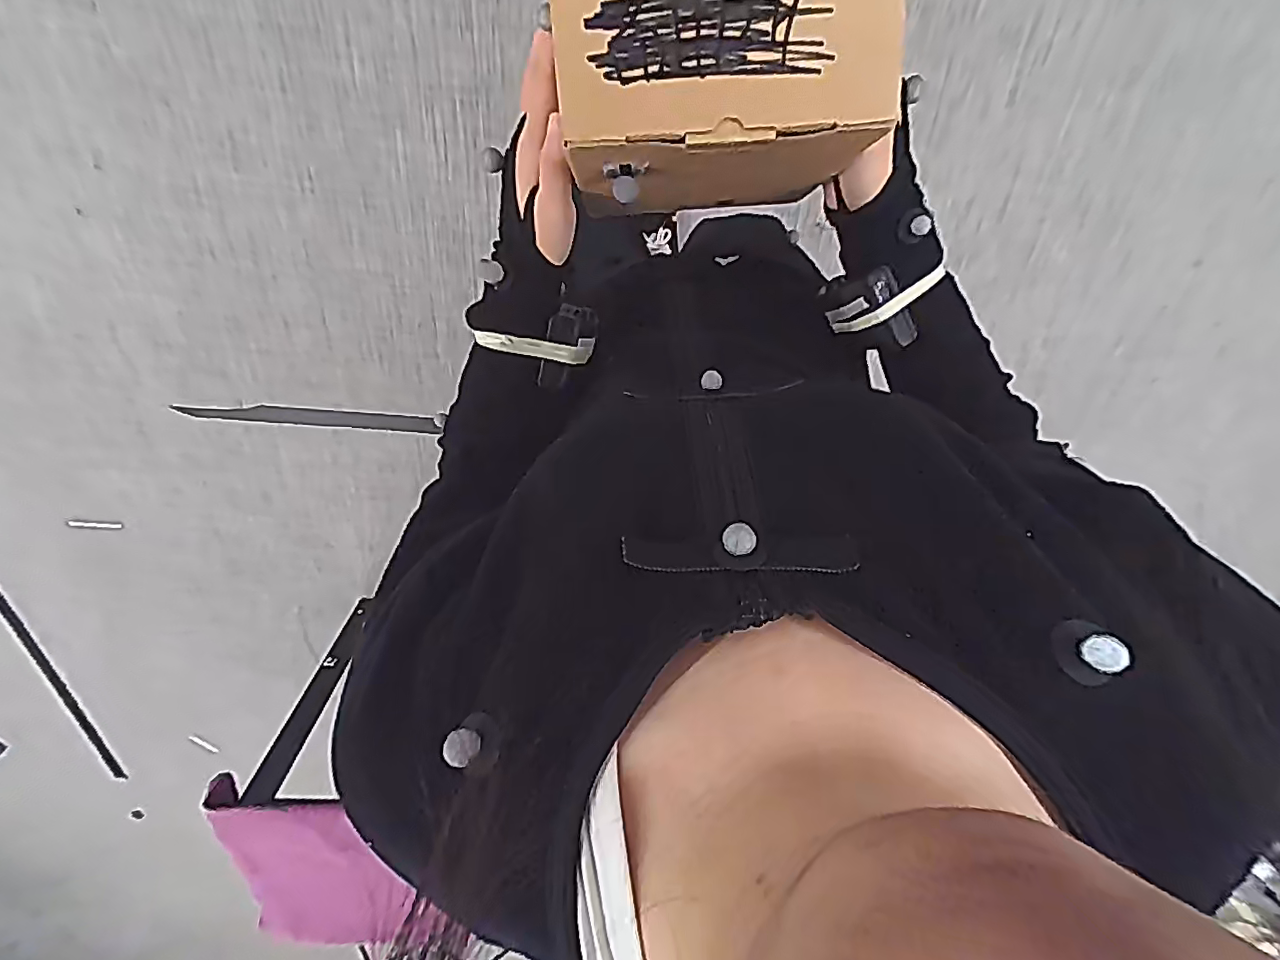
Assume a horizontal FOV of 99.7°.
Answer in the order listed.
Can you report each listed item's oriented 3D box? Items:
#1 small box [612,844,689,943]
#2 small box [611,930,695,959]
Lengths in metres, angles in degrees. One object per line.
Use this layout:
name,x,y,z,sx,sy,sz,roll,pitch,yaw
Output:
small box,0.019,0.977,1.253,0.168,0.176,0.179,0,120,-3
small box,0.026,1.061,1.114,0.179,0.176,0.168,-1,122,-2
